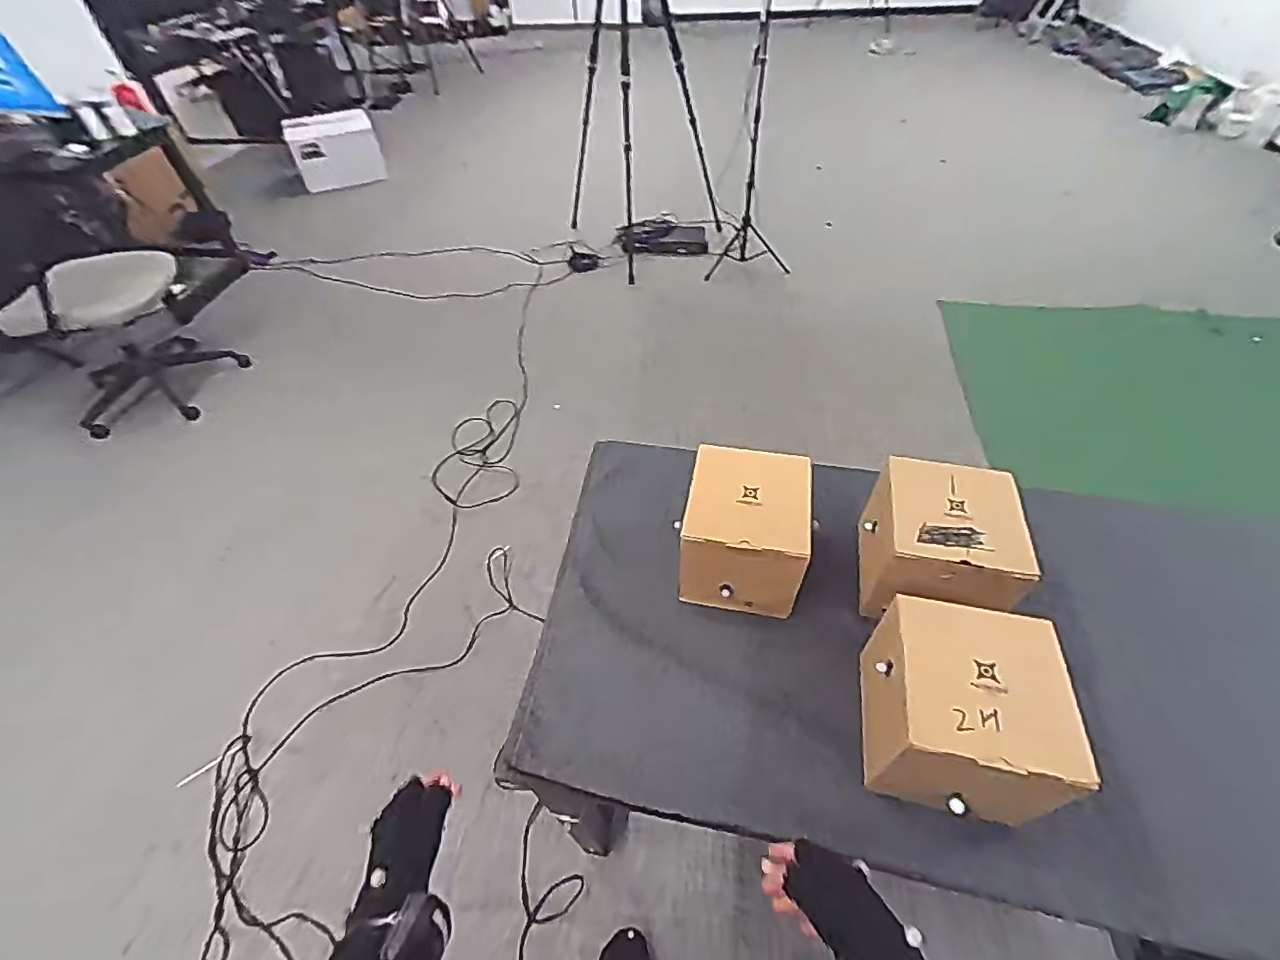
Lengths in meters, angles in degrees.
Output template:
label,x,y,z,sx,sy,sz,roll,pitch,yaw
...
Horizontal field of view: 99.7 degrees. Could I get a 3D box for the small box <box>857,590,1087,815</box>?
label,x,y,z,sx,sy,sz,roll,pitch,yaw
small box,0.359,0.259,0.629,0.168,0.176,0.179,9,49,10

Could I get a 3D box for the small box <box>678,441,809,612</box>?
label,x,y,z,sx,sy,sz,roll,pitch,yaw
small box,0.150,0.069,0.805,0.168,0.176,0.179,8,51,9
